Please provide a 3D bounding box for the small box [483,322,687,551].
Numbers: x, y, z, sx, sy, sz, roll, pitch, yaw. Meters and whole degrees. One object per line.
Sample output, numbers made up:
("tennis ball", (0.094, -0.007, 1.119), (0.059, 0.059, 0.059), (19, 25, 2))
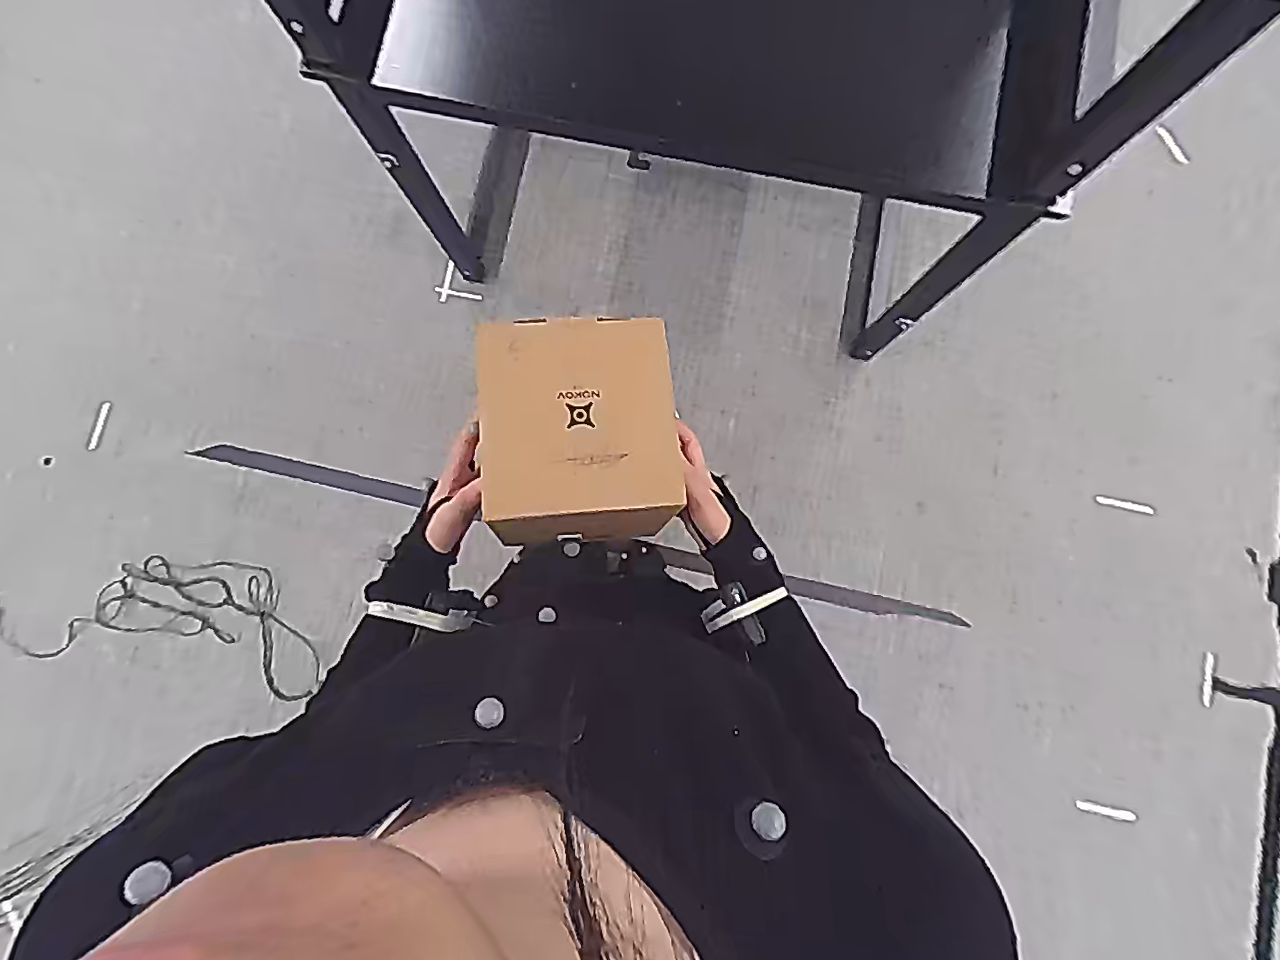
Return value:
("small box", (-0.059, -0.033, 0.530), (0.168, 0.176, 0.179), (-4, 76, -8))
